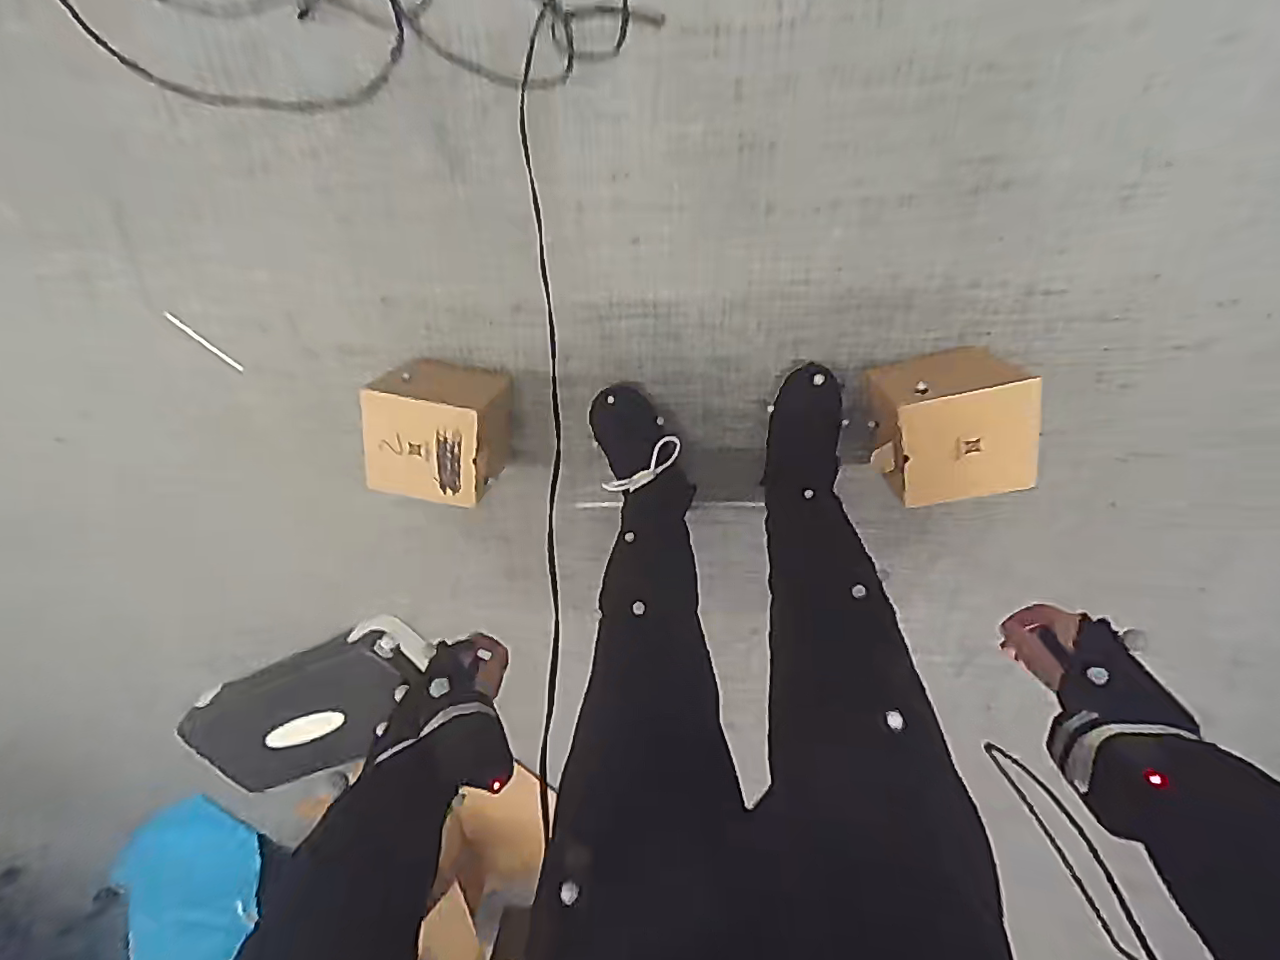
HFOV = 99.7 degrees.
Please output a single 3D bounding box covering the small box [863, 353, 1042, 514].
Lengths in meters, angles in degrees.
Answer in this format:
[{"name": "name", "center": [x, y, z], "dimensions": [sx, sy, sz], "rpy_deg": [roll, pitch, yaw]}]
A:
[{"name": "small box", "center": [0.449, -0.075, 0.802], "dimensions": [0.179, 0.176, 0.168], "rpy_deg": [-11, 116, 11]}]
